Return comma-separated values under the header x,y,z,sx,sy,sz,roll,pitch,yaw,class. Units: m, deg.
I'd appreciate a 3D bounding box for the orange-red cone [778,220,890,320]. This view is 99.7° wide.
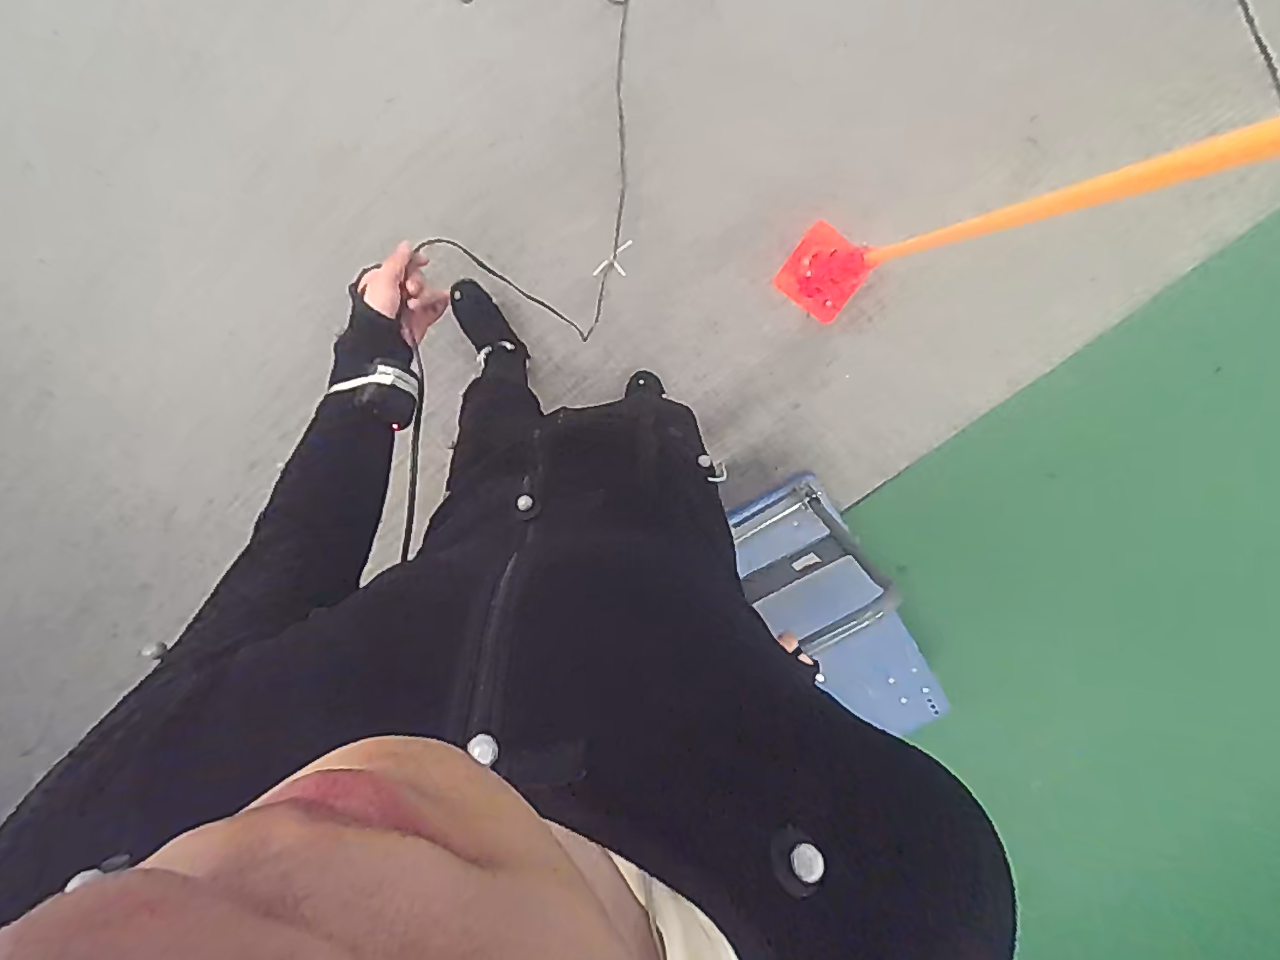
x,y,z,sx,sy,sz,roll,pitch,yaw,class
0.494,-0.511,1.274,0.198,0.360,0.199,36,102,-9,orange-red cone
